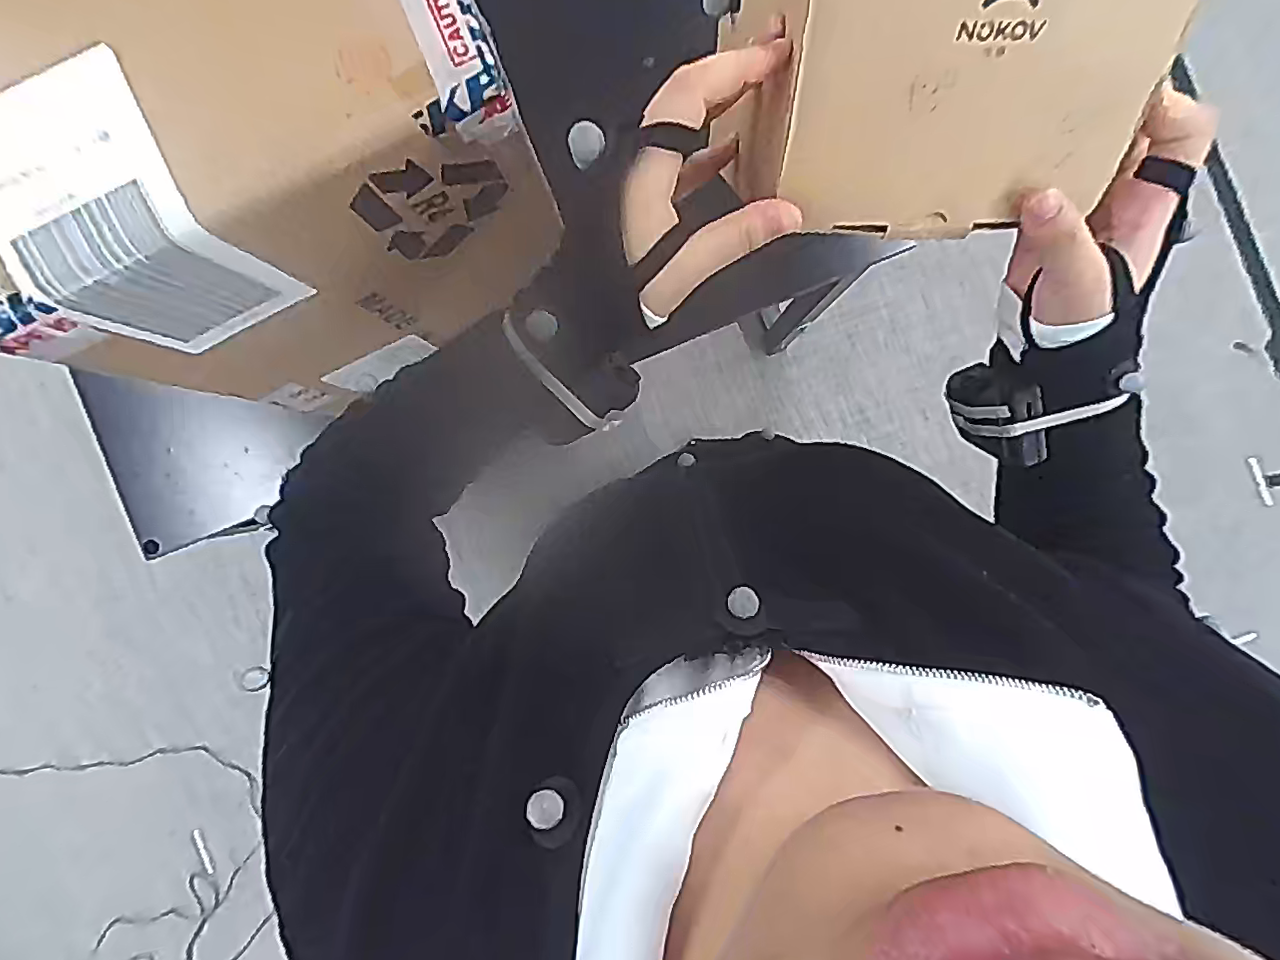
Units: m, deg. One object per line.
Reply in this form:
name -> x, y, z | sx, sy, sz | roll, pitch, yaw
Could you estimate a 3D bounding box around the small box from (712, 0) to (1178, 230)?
small box -> 0.135, -0.249, 0.279 | 0.168, 0.176, 0.179 | -3, 133, -3
